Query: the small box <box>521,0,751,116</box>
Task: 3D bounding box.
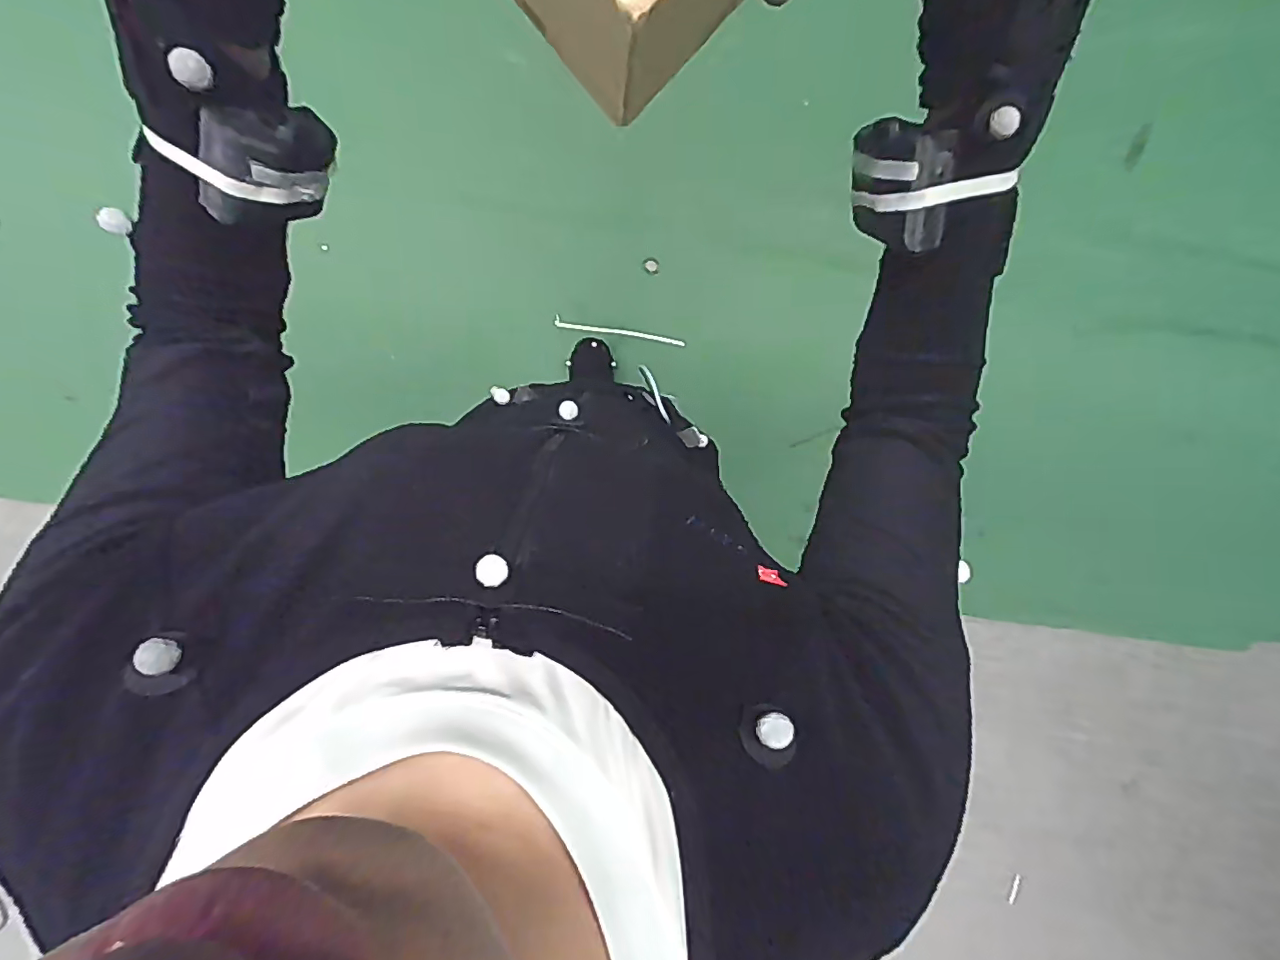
[{"bbox_3d":[0.004,-0.273,0.185,0.179,0.176,0.168,-41,109,15],"label":"small box"}]
